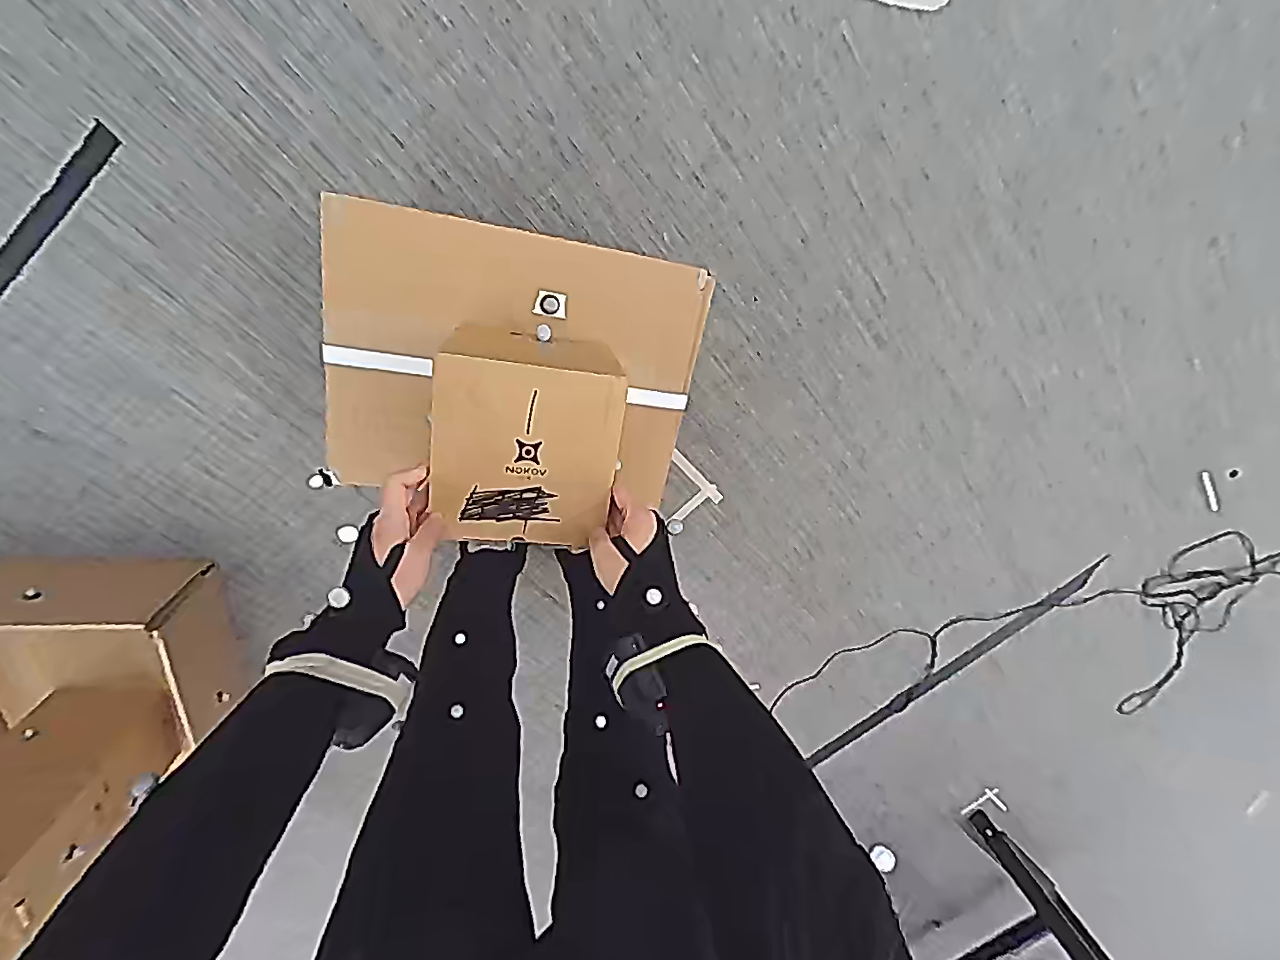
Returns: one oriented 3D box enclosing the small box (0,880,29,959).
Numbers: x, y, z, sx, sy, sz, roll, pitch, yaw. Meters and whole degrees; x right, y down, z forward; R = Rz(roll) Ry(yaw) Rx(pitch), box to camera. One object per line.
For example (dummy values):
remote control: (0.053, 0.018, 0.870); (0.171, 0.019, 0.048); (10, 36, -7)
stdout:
small box: (-0.912, 0.608, 0.639); (0.179, 0.176, 0.168); (5, 112, -12)

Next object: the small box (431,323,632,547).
small box: (-0.112, -0.052, 0.559); (0.168, 0.176, 0.179); (5, 112, -13)

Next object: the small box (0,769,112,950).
small box: (-0.931, 0.549, 0.791); (0.179, 0.176, 0.168); (6, 112, -13)
